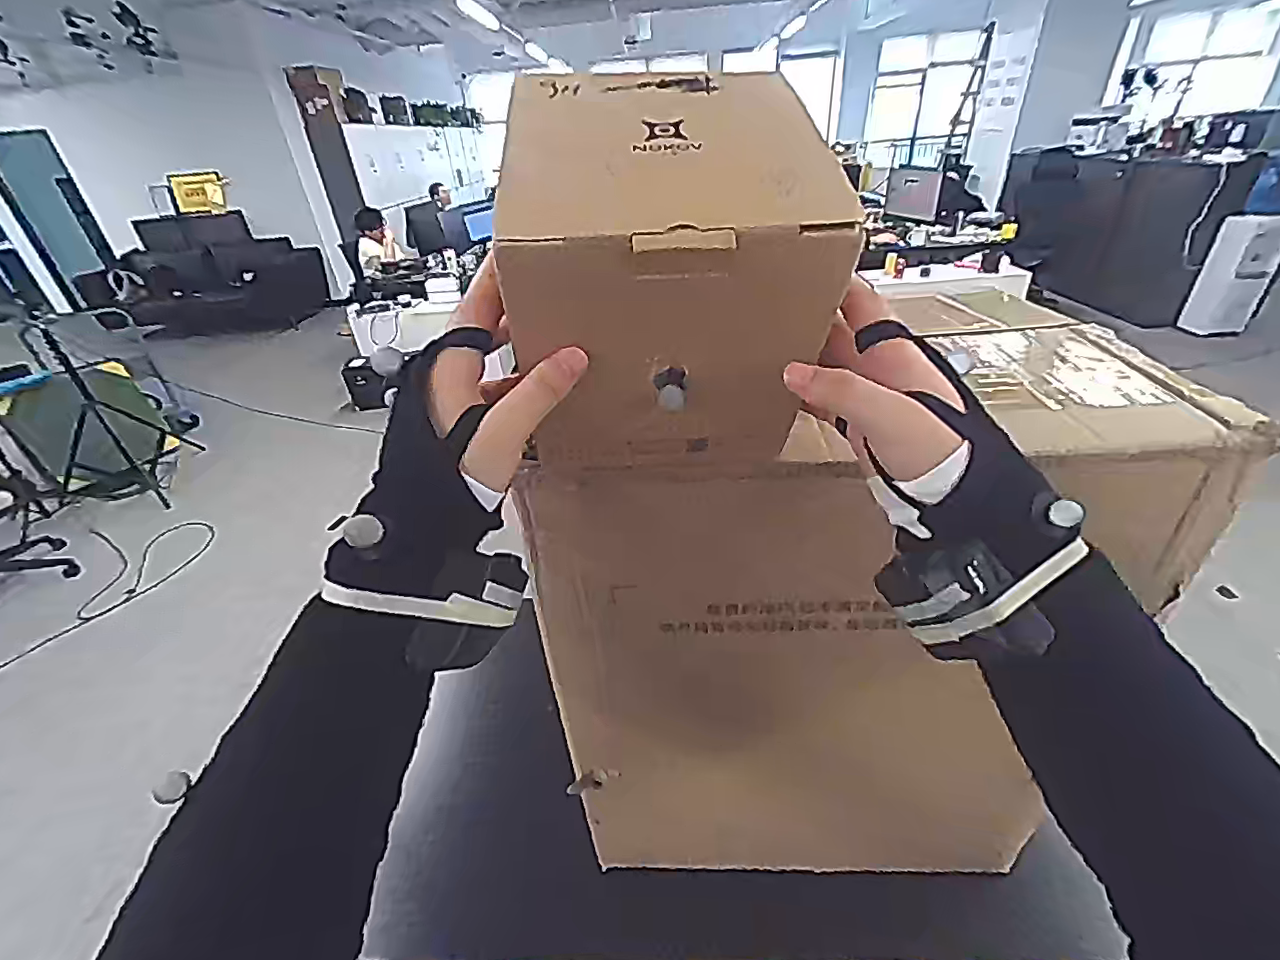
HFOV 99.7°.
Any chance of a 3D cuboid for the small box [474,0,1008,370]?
[{"bbox_3d":[0.027,-0.168,0.267,0.168,0.176,0.179,-3,56,-3],"label":"small box"}]
